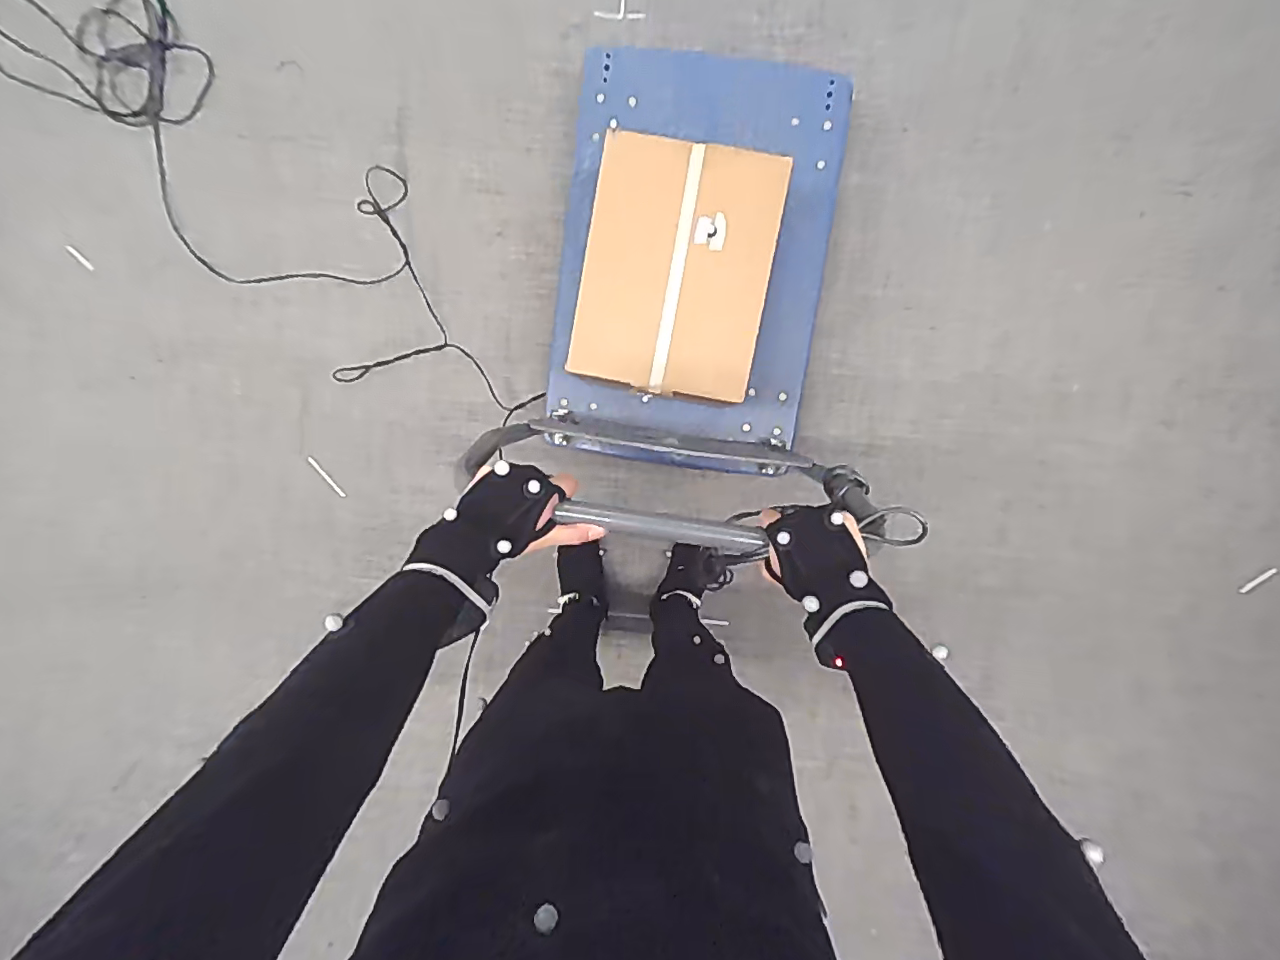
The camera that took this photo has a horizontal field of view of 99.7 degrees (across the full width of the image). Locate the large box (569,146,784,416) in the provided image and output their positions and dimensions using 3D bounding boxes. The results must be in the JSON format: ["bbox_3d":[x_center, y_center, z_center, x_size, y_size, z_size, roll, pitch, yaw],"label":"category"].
[{"bbox_3d":[0.065,-0.352,1.065,0.320,0.320,0.408,11,95,1],"label":"large box"}]
